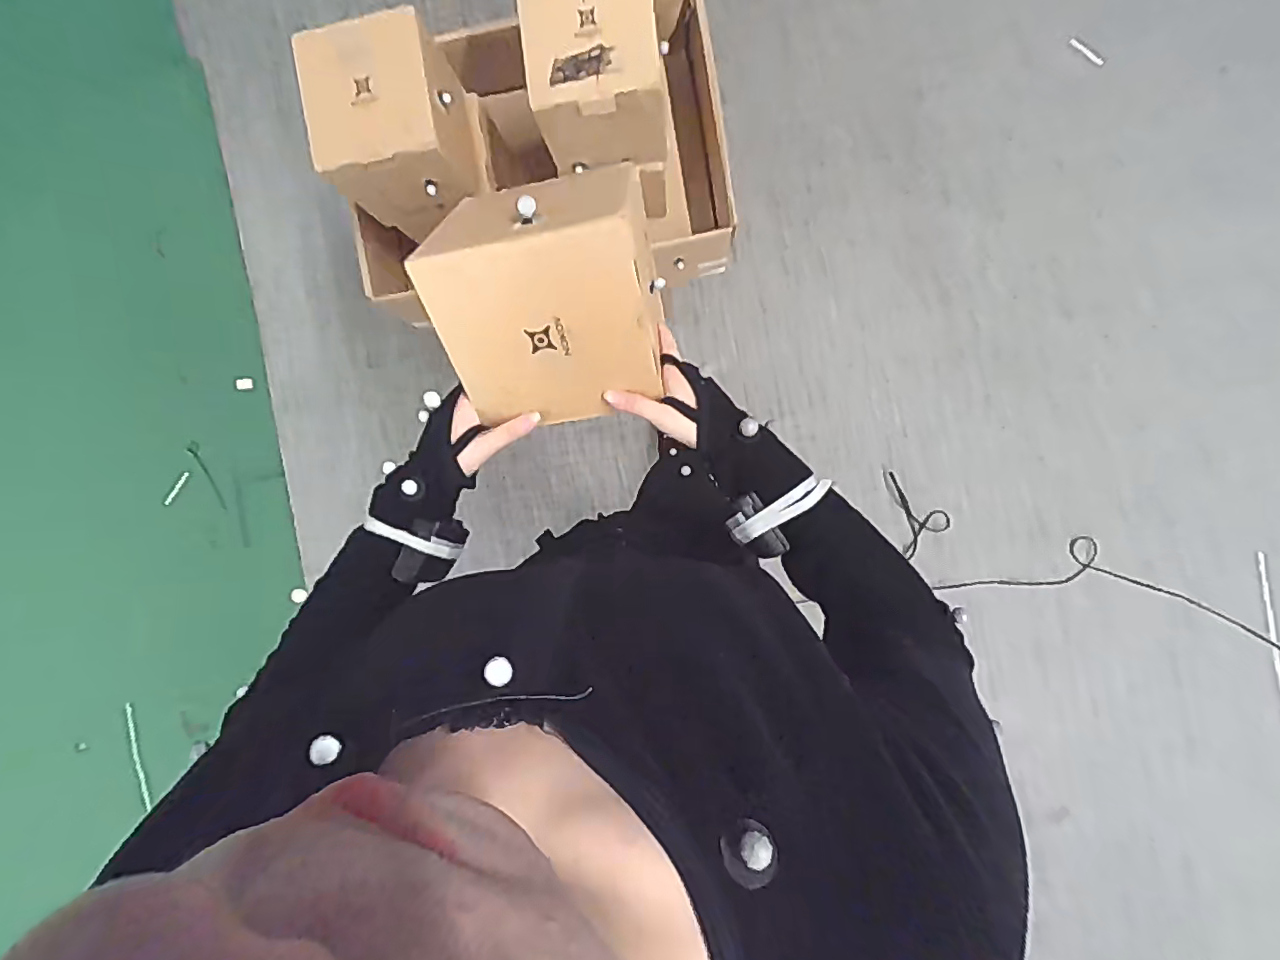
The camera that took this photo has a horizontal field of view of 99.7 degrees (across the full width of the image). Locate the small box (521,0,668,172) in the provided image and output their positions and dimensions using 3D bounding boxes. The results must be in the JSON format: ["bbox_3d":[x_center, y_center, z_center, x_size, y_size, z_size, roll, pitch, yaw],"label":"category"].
[{"bbox_3d":[-0.052,-0.546,0.734,0.168,0.176,0.179,-6,91,5],"label":"small box"}]

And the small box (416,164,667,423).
[{"bbox_3d":[-0.072,-0.177,0.510,0.179,0.176,0.168,-8,131,7],"label":"small box"}]

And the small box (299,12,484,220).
[{"bbox_3d":[-0.334,-0.489,0.760,0.168,0.176,0.179,-8,92,5],"label":"small box"}]
